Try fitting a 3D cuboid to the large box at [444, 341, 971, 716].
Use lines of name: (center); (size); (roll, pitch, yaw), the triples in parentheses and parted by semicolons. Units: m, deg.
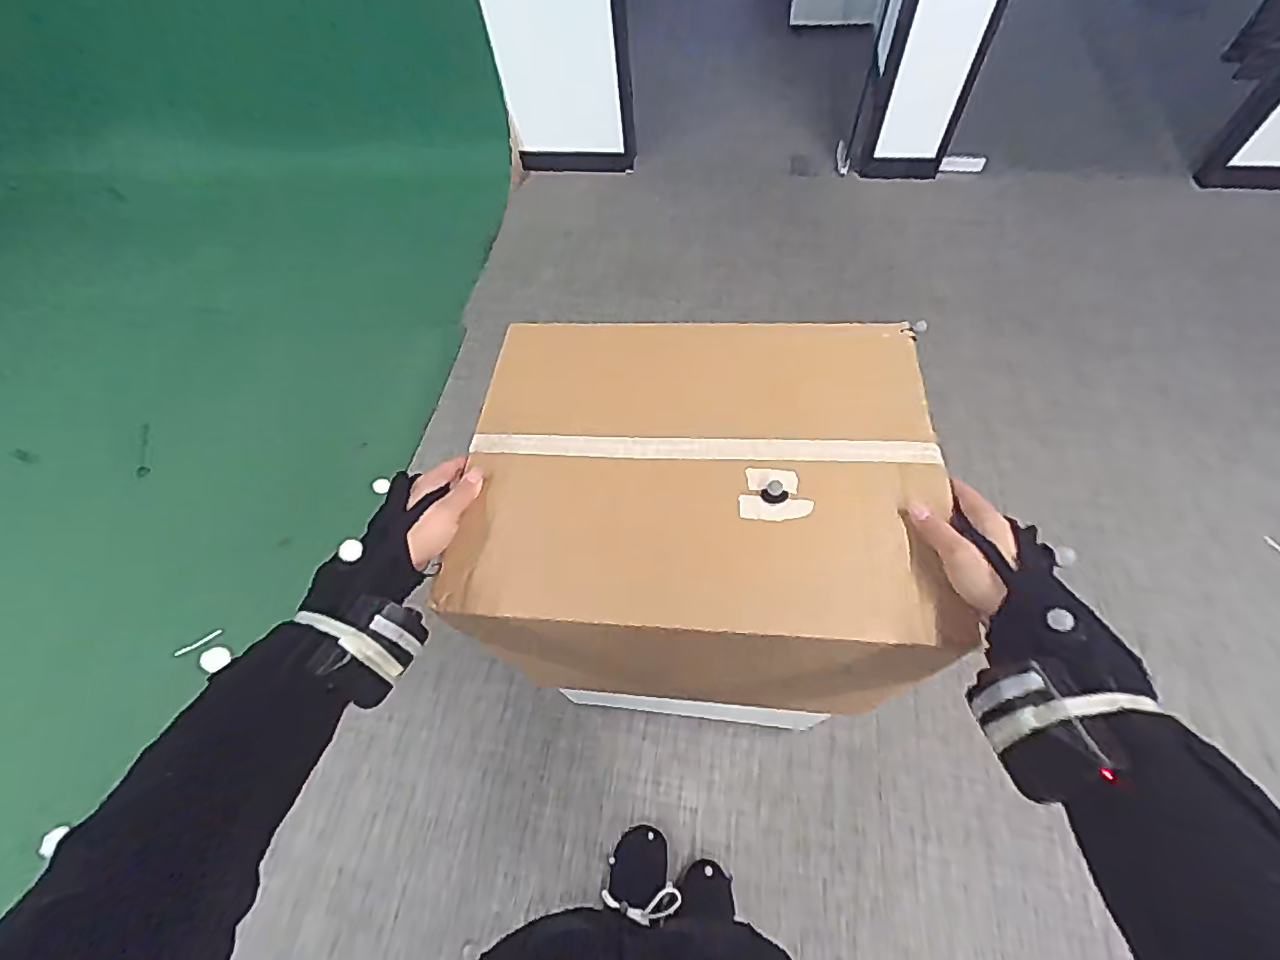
large box: (0.061, 0.065, 0.607); (0.408, 0.320, 0.320); (2, 59, 6)
